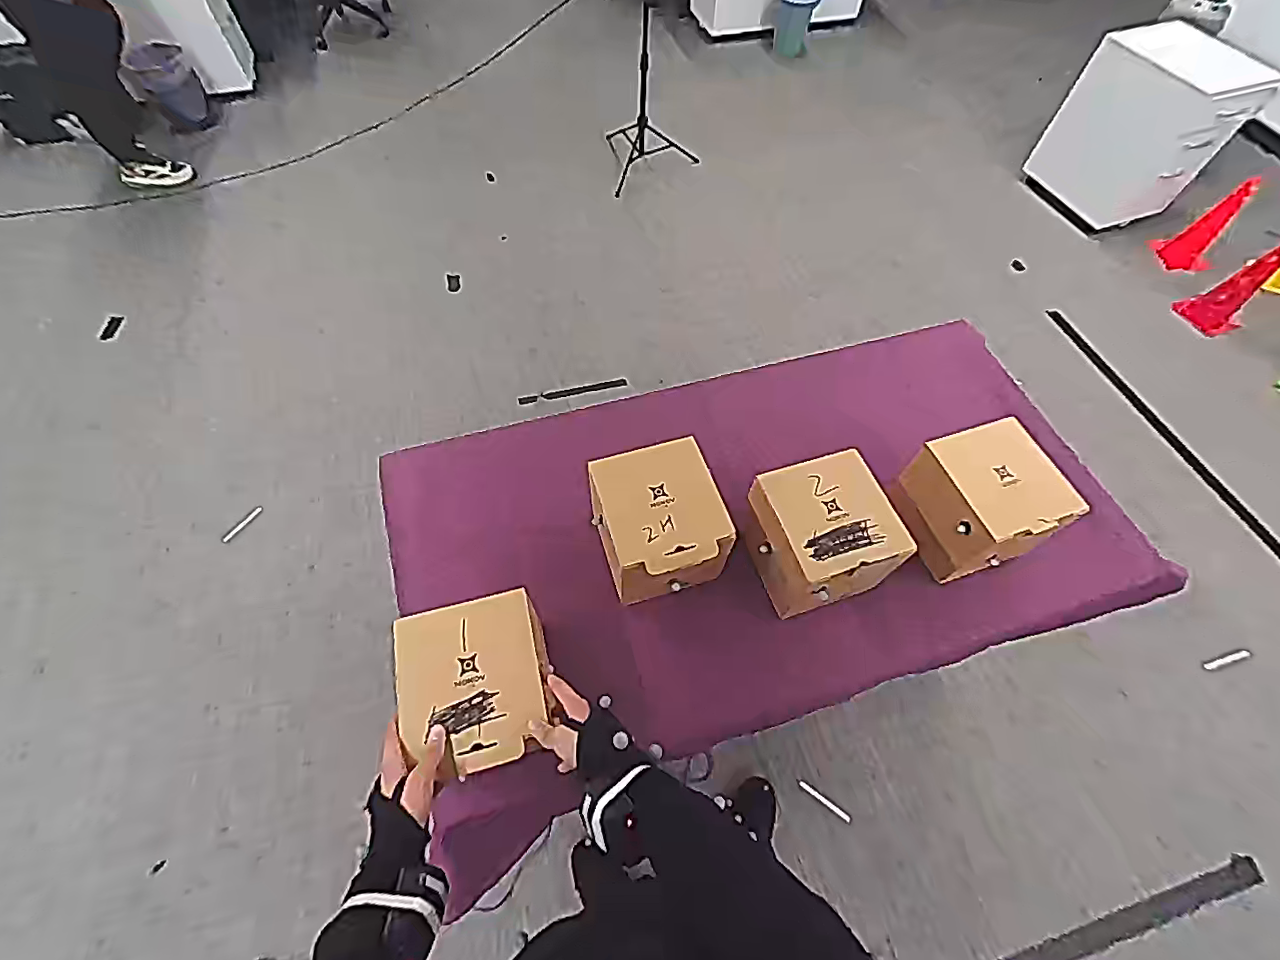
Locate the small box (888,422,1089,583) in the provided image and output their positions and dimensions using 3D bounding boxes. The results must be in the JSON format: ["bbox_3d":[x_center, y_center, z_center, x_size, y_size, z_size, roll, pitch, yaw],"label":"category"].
[{"bbox_3d":[0.536,0.040,0.864,0.168,0.176,0.179,-16,62,-10],"label":"small box"}]

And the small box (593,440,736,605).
[{"bbox_3d":[0.029,0.068,0.832,0.168,0.176,0.179,-14,61,-9],"label":"small box"}]

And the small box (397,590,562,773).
[{"bbox_3d":[-0.203,0.269,0.710,0.168,0.176,0.179,-12,60,-9],"label":"small box"}]
